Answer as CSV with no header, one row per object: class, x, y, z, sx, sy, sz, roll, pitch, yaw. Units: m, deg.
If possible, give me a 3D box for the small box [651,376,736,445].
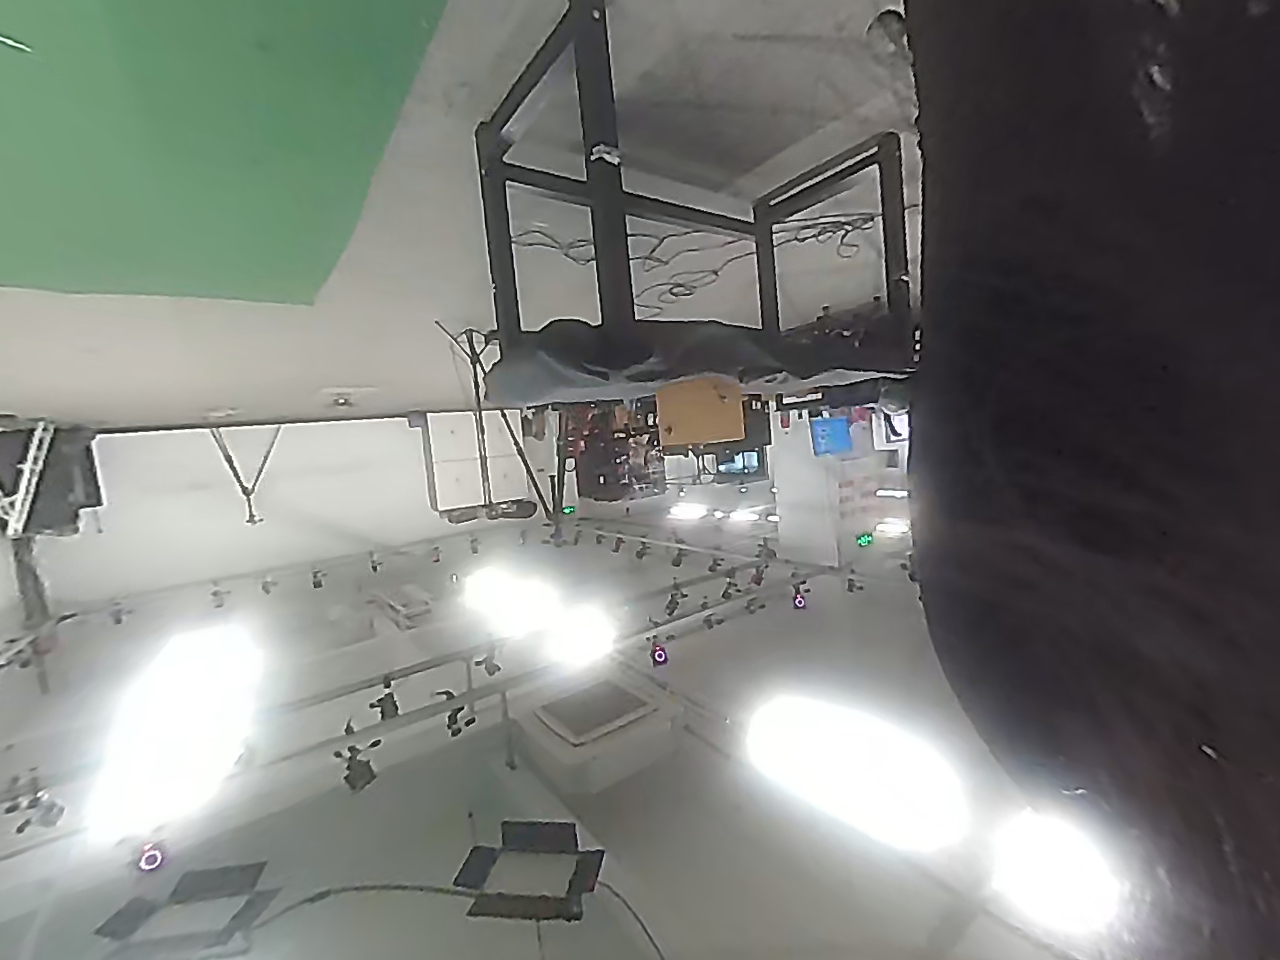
small box,0.144,-0.191,1.497,0.168,0.176,0.179,-10,-174,-39
